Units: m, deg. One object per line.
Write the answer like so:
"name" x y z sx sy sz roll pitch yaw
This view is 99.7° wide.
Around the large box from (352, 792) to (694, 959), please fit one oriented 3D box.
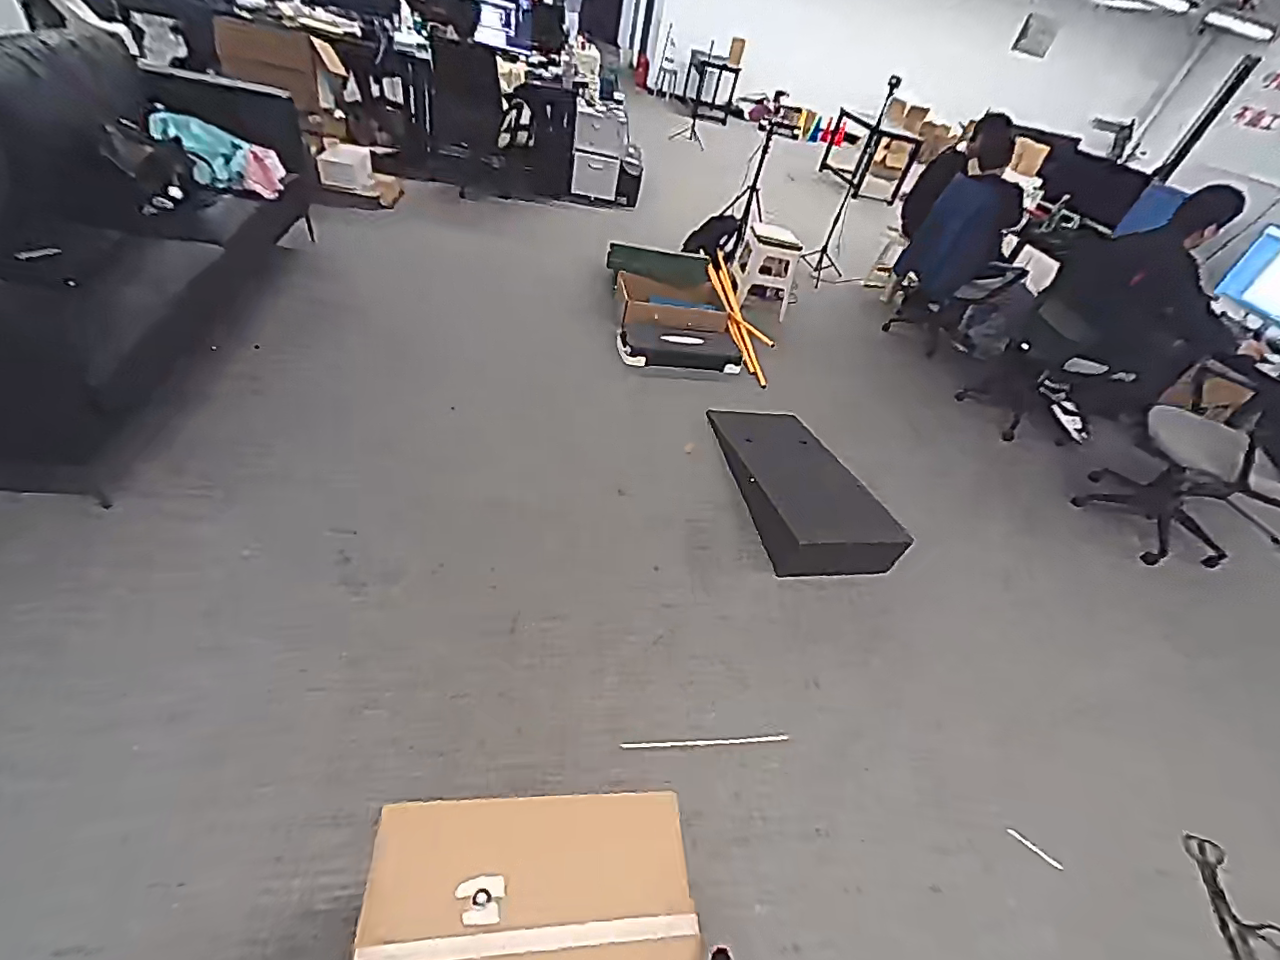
"large box" -0.156 0.653 0.750 0.408 0.320 0.320 4 47 -11
